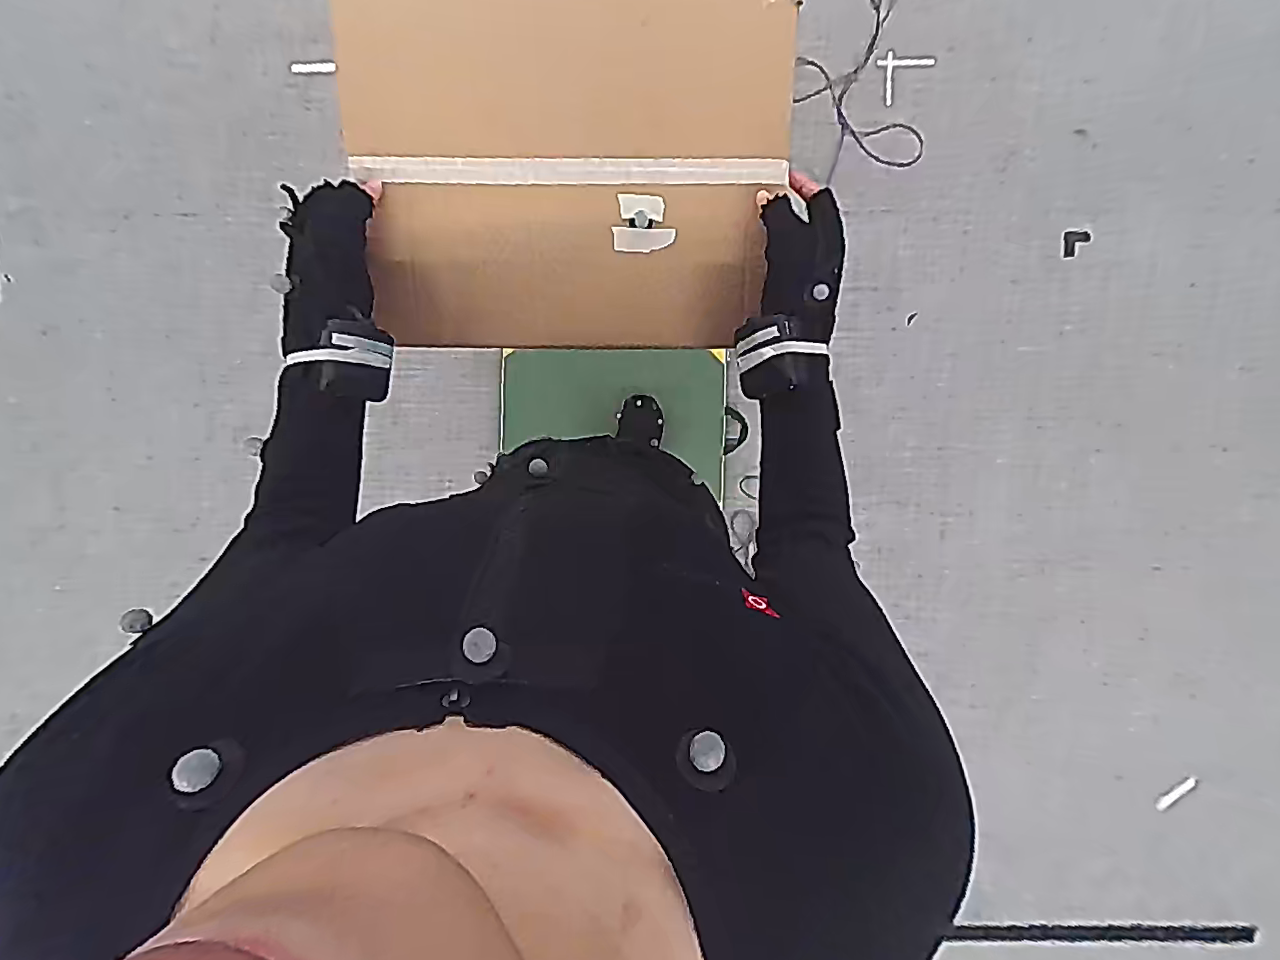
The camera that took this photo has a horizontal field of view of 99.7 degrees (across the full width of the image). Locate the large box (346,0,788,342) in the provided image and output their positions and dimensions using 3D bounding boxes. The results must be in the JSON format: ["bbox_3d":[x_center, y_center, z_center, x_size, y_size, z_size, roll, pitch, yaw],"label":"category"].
[{"bbox_3d":[-0.067,-0.336,0.660,0.408,0.320,0.320,-1,104,-2],"label":"large box"}]
